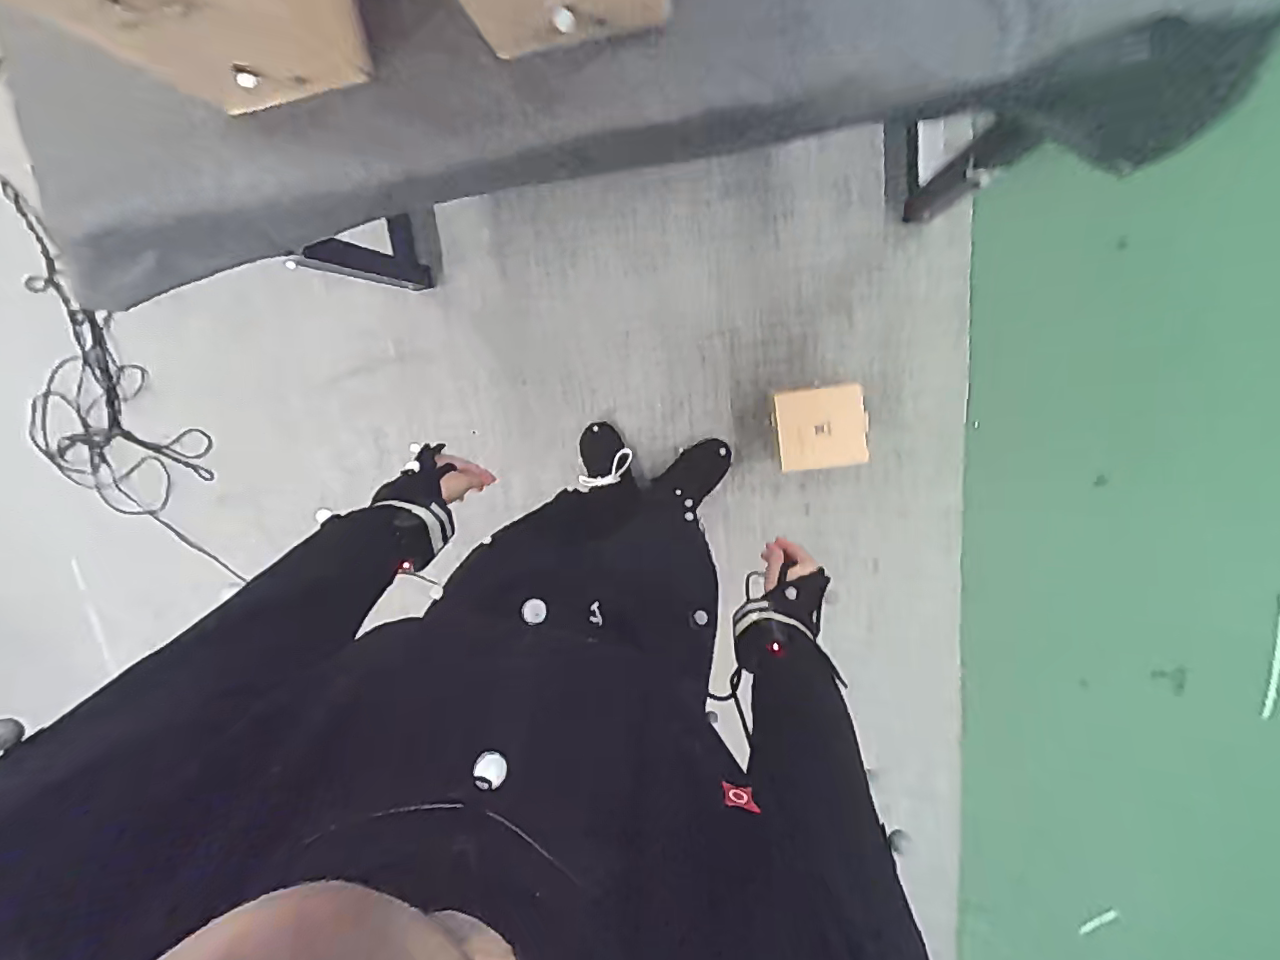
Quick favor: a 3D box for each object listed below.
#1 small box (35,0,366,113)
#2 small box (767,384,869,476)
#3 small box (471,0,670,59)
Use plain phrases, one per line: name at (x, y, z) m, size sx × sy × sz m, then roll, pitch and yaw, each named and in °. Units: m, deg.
small box at (-0.367, -0.453, 0.452) m, size 0.168 × 0.176 × 0.179 m, roll -7°, pitch 101°, yaw 9°
small box at (0.378, -0.113, 1.169) m, size 0.179 × 0.176 × 0.168 m, roll -8°, pitch 100°, yaw 10°
small box at (-0.072, -0.469, 0.402) m, size 0.168 × 0.176 × 0.179 m, roll -5°, pitch 101°, yaw 10°
